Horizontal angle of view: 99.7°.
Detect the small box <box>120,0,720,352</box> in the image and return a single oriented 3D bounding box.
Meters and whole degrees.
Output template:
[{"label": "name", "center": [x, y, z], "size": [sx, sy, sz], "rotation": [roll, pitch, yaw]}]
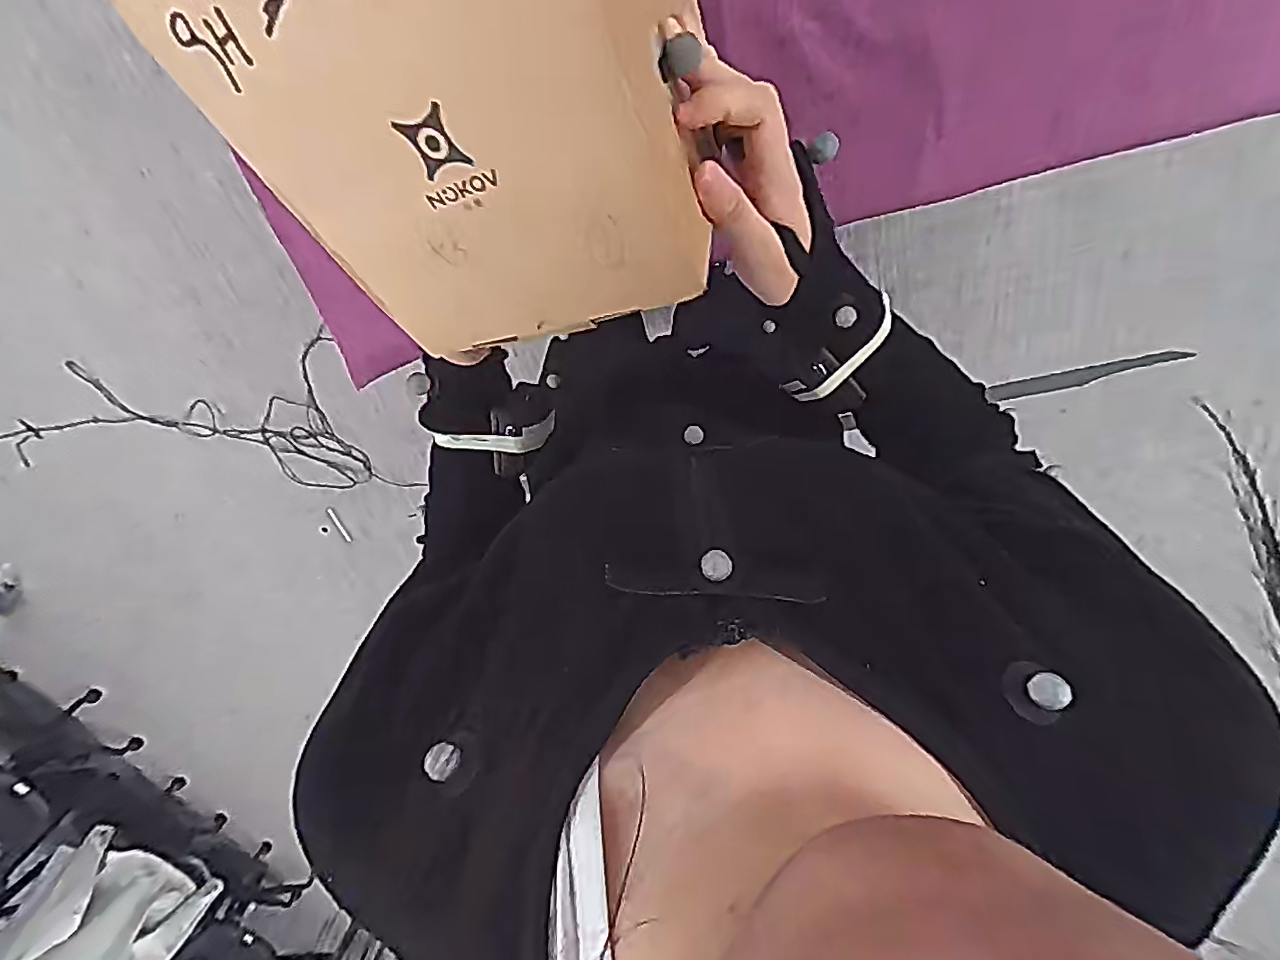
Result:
[{"label": "small box", "center": [-0.063, -0.194, 0.260], "size": [0.168, 0.176, 0.179], "rotation": [-6, 146, 22]}]
